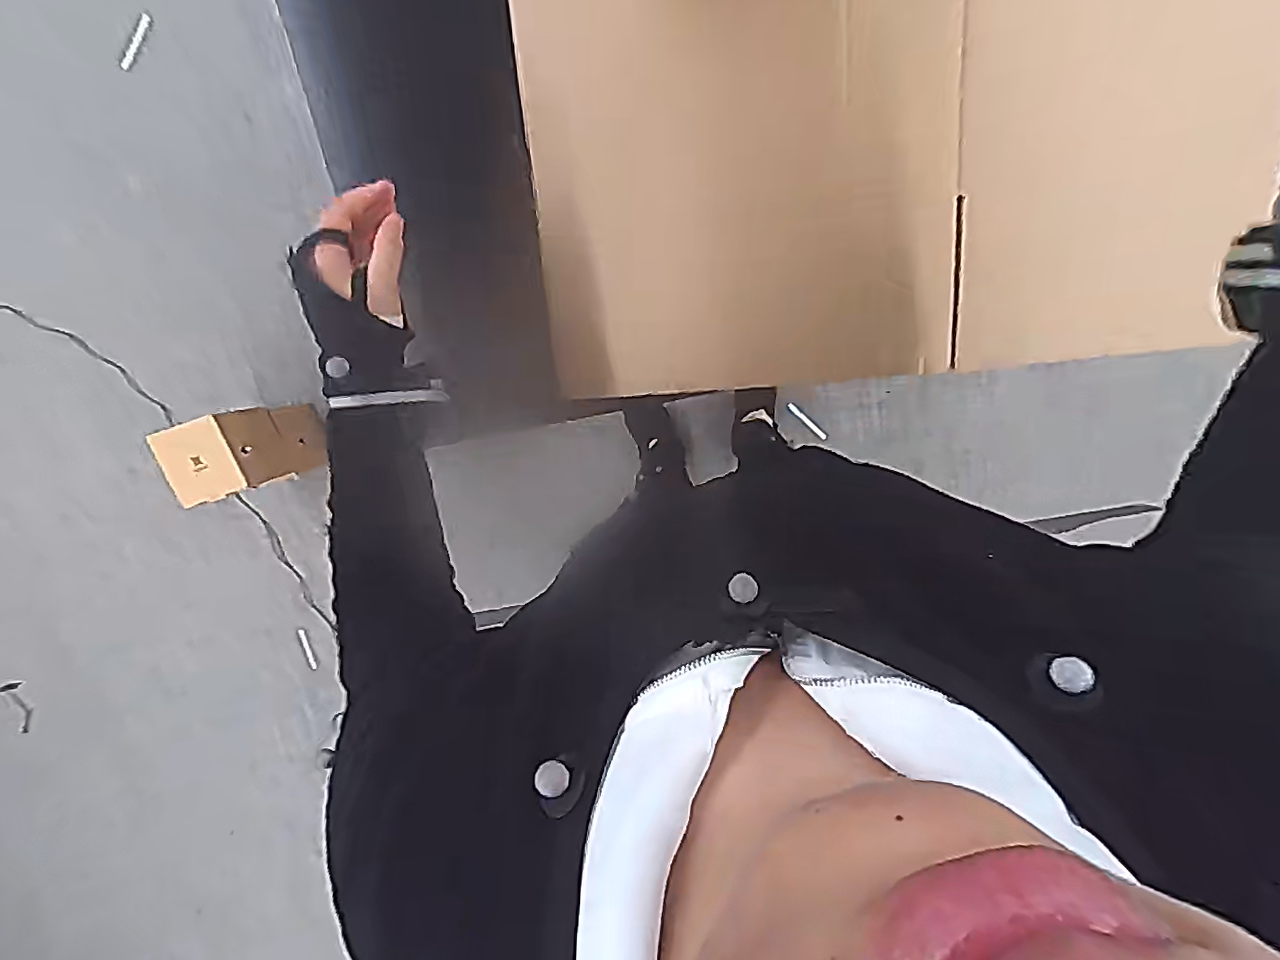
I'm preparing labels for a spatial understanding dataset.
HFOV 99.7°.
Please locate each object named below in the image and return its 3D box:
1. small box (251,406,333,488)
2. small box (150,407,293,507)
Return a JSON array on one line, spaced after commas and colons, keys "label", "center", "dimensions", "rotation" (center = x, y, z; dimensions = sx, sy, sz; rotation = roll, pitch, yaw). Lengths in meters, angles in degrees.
[{"label": "small box", "center": [-0.953, -0.093, 1.421], "dimensions": [0.168, 0.176, 0.179], "rotation": [-14, 103, 5]}, {"label": "small box", "center": [-0.961, -0.059, 1.262], "dimensions": [0.168, 0.176, 0.179], "rotation": [-18, 101, 5]}]
